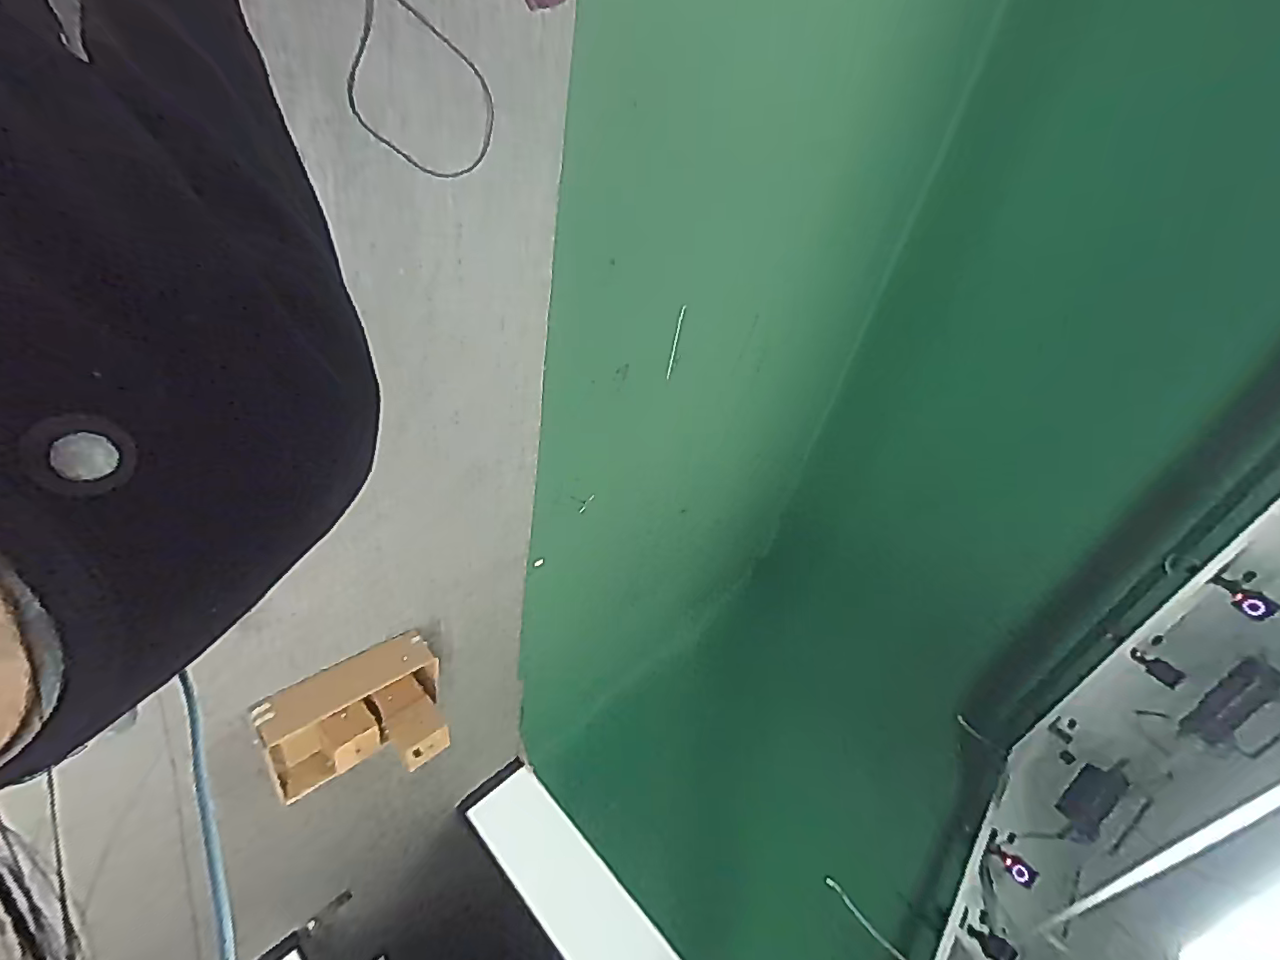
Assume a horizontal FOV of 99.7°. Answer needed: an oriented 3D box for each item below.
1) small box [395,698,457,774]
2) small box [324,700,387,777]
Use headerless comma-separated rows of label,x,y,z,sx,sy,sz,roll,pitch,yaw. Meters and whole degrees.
small box,-0.864,1.024,2.171,0.179,0.176,0.168,-27,138,-39
small box,-1.119,1.012,2.128,0.168,0.176,0.179,-24,137,-43
